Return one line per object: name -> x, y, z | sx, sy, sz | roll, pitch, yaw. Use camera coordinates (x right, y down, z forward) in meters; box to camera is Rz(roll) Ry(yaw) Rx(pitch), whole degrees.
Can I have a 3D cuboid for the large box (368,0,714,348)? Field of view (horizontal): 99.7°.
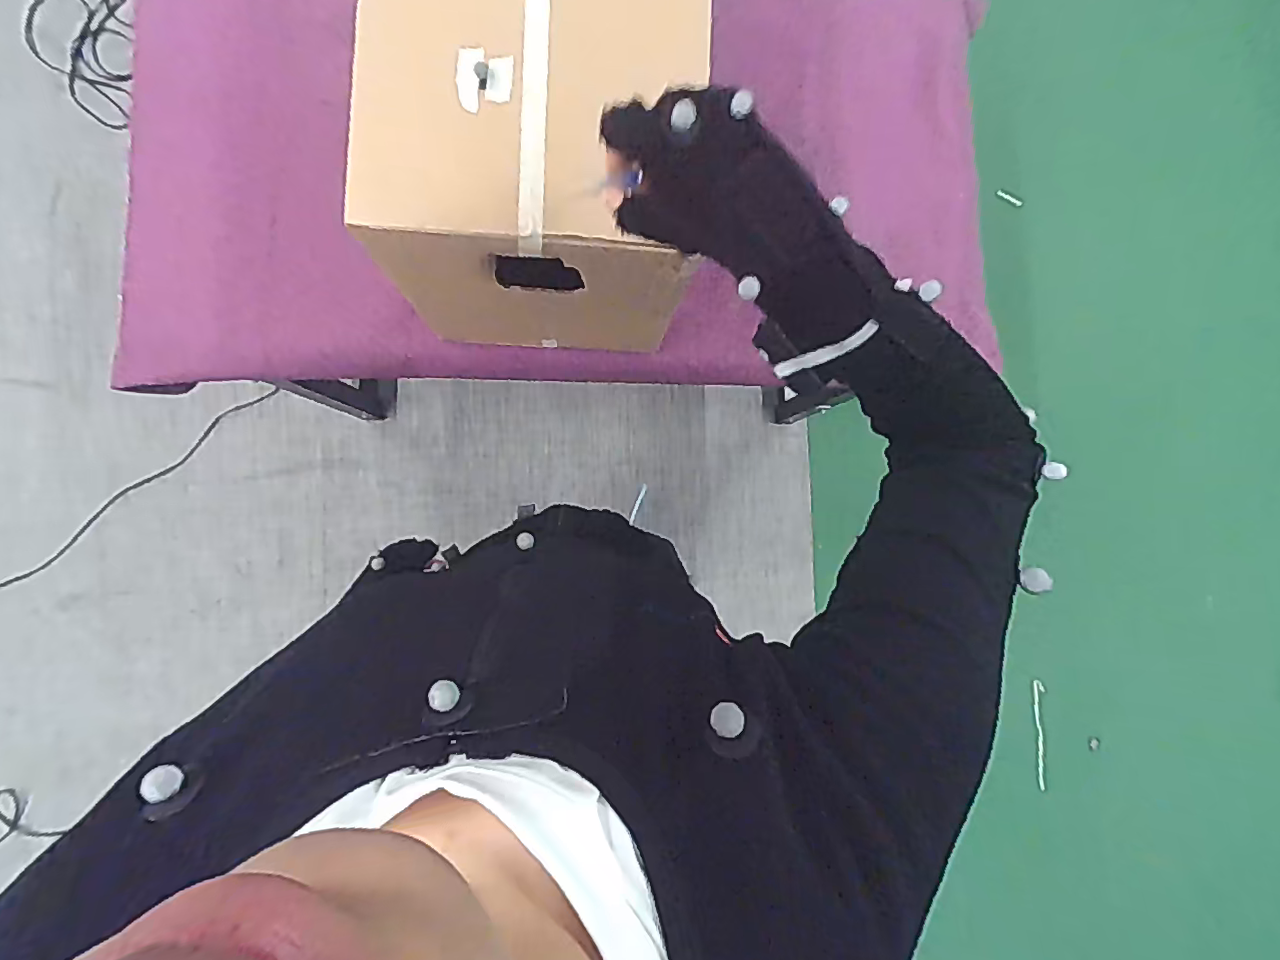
large box -> -0.102, -0.405, 0.648 | 0.320, 0.320, 0.408 | 2, 87, -6
